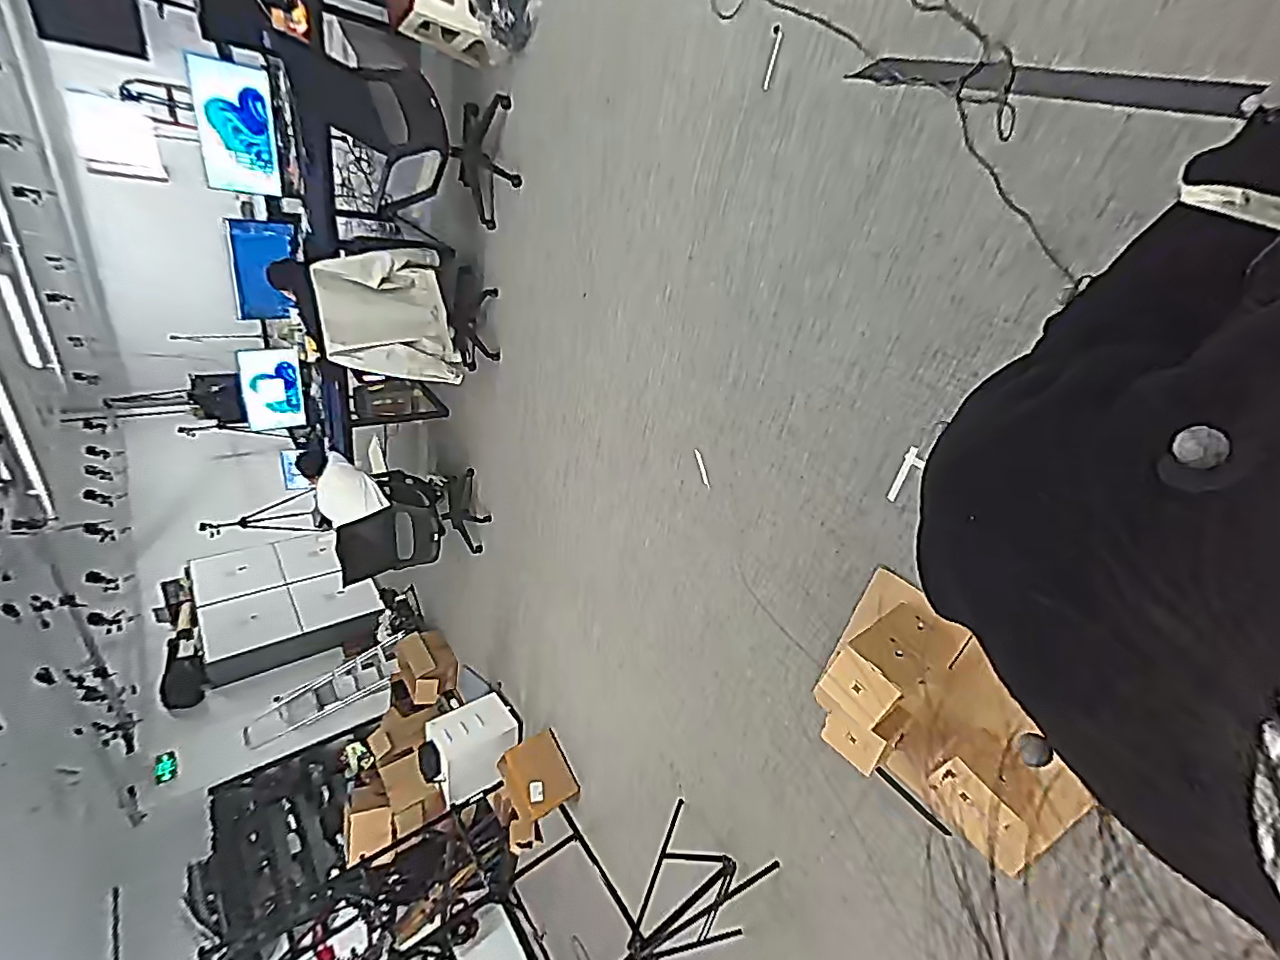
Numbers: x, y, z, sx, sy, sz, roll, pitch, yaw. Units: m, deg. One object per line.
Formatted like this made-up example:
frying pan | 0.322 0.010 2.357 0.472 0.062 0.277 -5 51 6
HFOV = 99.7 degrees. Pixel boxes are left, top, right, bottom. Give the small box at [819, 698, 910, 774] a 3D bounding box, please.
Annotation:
small box | 0.698 0.760 1.682 0.179 0.176 0.168 34 127 40

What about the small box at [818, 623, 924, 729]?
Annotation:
small box | 0.619 0.516 1.442 0.168 0.176 0.179 43 130 35

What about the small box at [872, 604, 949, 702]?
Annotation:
small box | 0.744 0.488 1.543 0.168 0.176 0.179 39 128 37

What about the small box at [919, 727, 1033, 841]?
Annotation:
small box | 0.899 0.804 1.442 0.179 0.176 0.168 46 132 30
